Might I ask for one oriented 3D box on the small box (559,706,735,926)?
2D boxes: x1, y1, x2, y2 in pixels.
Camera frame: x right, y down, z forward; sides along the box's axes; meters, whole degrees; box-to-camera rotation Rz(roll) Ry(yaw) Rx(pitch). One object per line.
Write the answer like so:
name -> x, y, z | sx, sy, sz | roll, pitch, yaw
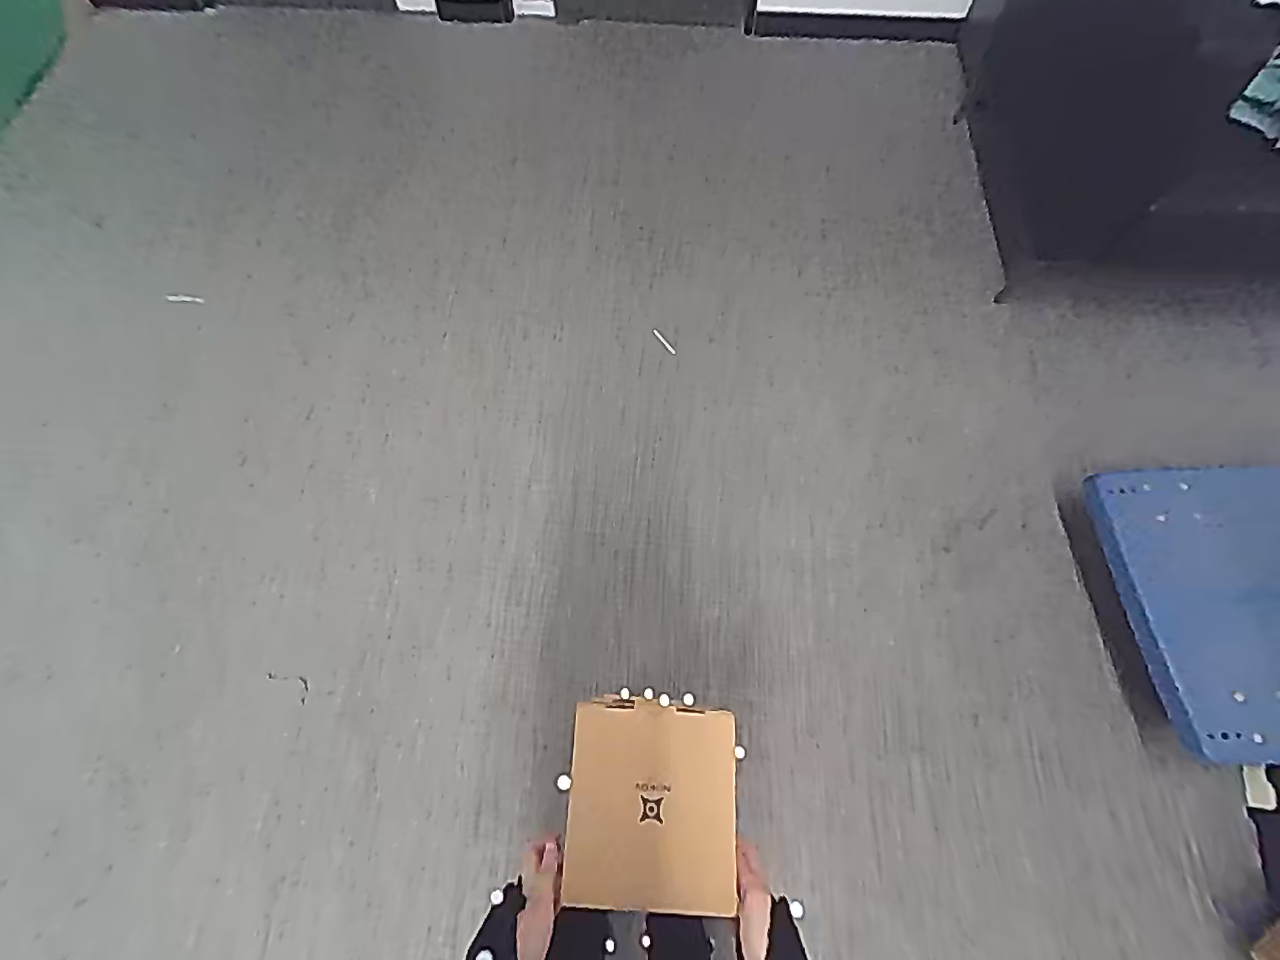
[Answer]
small box -> 0.012, 0.350, 0.598 | 0.168, 0.176, 0.179 | 3, 67, 1
